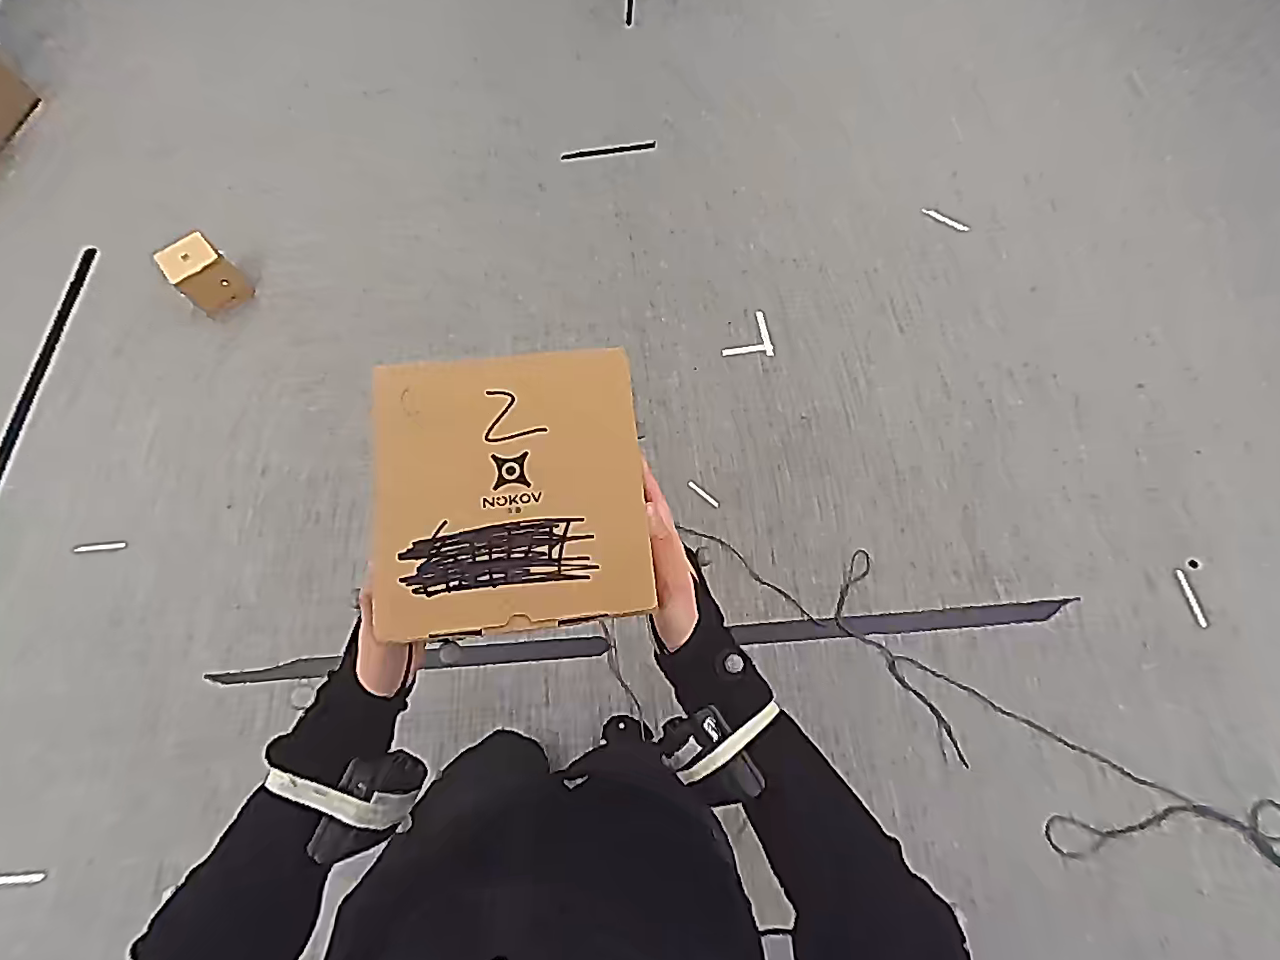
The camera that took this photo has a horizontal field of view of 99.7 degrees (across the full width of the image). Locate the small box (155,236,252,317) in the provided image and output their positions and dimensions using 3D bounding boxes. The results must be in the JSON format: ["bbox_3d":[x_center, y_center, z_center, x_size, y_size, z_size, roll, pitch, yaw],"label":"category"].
[{"bbox_3d":[-1.489,-0.689,1.854,0.168,0.176,0.179,-41,69,-14],"label":"small box"}]
